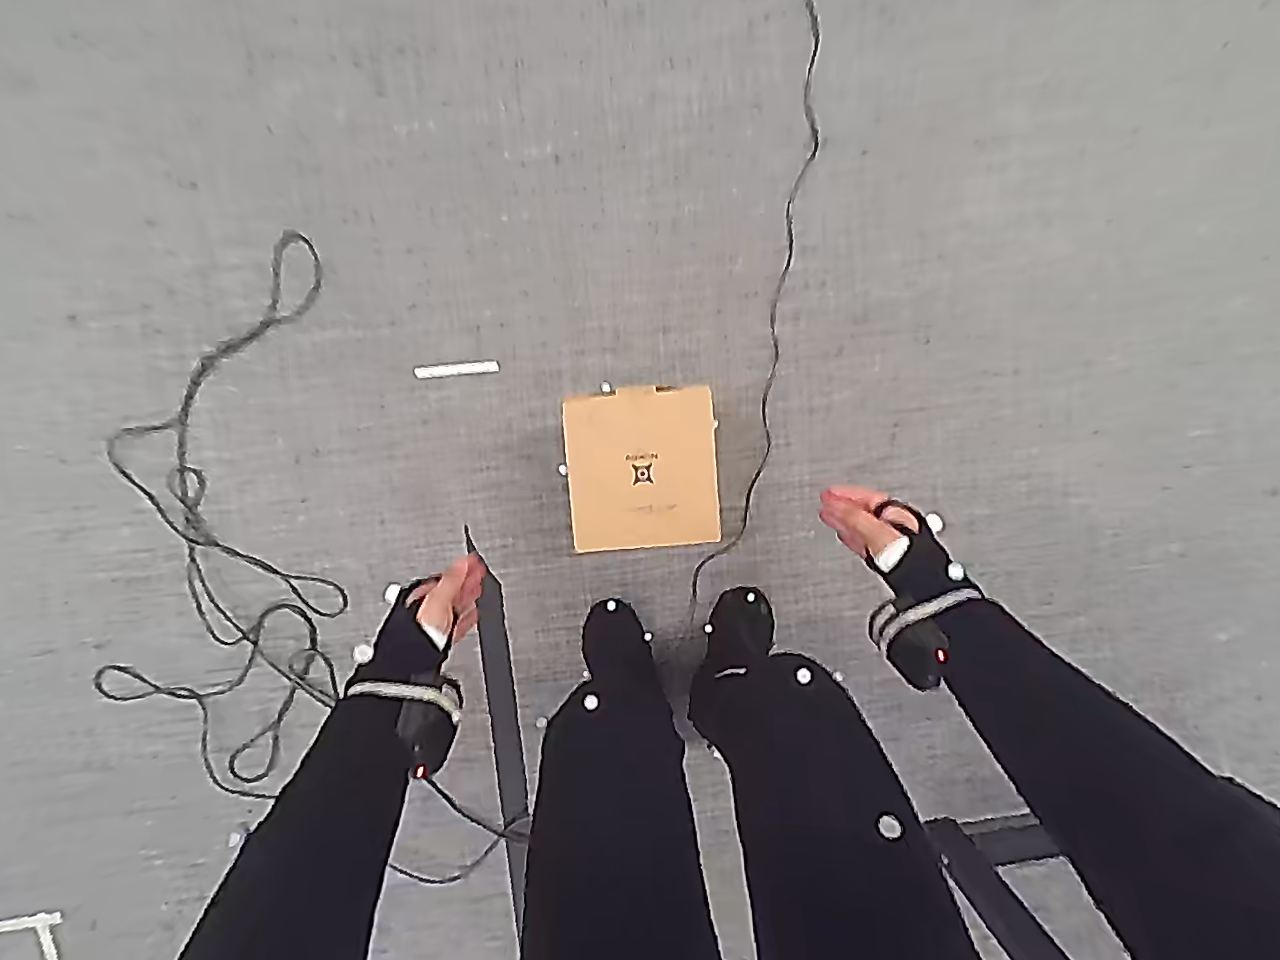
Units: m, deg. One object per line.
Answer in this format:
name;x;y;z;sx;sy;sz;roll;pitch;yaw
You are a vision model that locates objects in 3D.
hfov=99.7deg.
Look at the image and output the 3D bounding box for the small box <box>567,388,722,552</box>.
small box;0.005;-0.017;0.682;0.168;0.176;0.179;-5;96;1
